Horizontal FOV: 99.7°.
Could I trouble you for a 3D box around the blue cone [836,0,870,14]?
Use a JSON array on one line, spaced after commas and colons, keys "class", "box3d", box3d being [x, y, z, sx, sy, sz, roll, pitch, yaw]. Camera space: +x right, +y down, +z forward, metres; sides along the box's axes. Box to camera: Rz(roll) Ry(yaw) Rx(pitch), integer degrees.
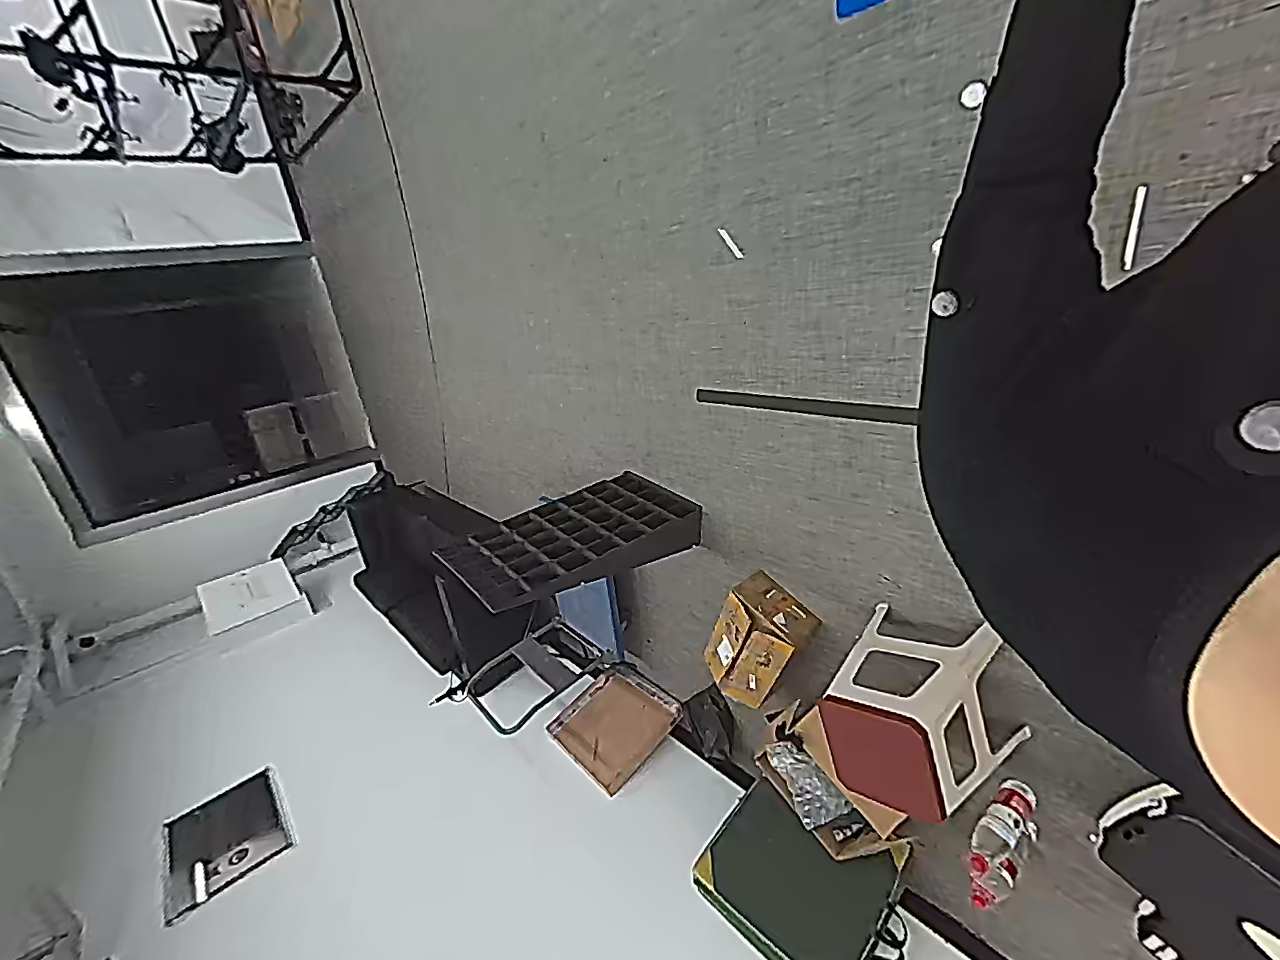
[{"class": "blue cone", "box3d": [0.407, -1.151, 1.133, 0.192, 0.380, 0.193, 21, 125, 46]}]
